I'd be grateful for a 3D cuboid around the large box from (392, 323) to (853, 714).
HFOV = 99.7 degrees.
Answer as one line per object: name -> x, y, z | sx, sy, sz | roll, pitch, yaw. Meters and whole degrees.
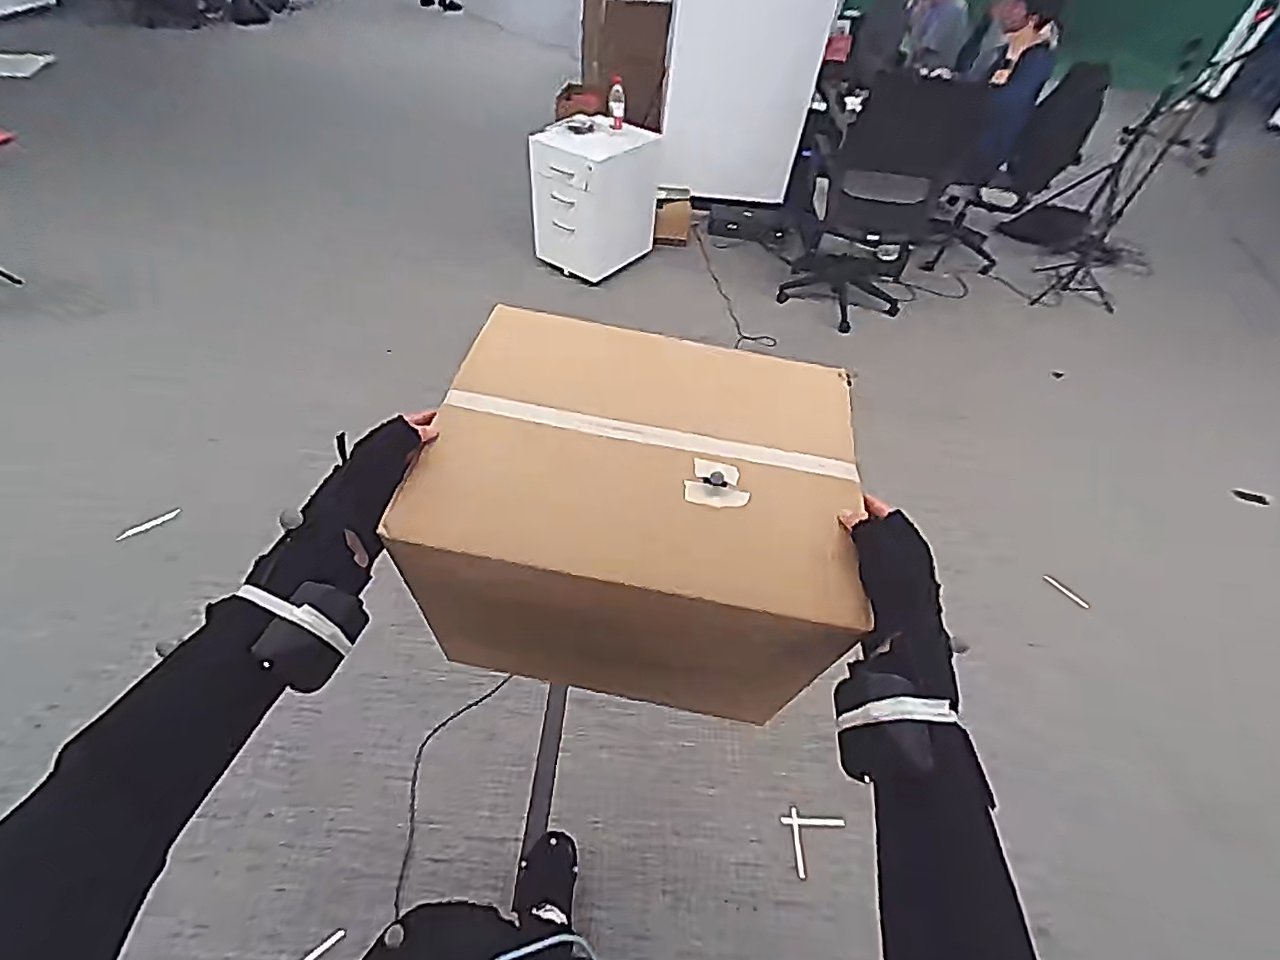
large box -> -0.012, 0.057, 0.658 | 0.408, 0.320, 0.320 | 11, 53, 0
